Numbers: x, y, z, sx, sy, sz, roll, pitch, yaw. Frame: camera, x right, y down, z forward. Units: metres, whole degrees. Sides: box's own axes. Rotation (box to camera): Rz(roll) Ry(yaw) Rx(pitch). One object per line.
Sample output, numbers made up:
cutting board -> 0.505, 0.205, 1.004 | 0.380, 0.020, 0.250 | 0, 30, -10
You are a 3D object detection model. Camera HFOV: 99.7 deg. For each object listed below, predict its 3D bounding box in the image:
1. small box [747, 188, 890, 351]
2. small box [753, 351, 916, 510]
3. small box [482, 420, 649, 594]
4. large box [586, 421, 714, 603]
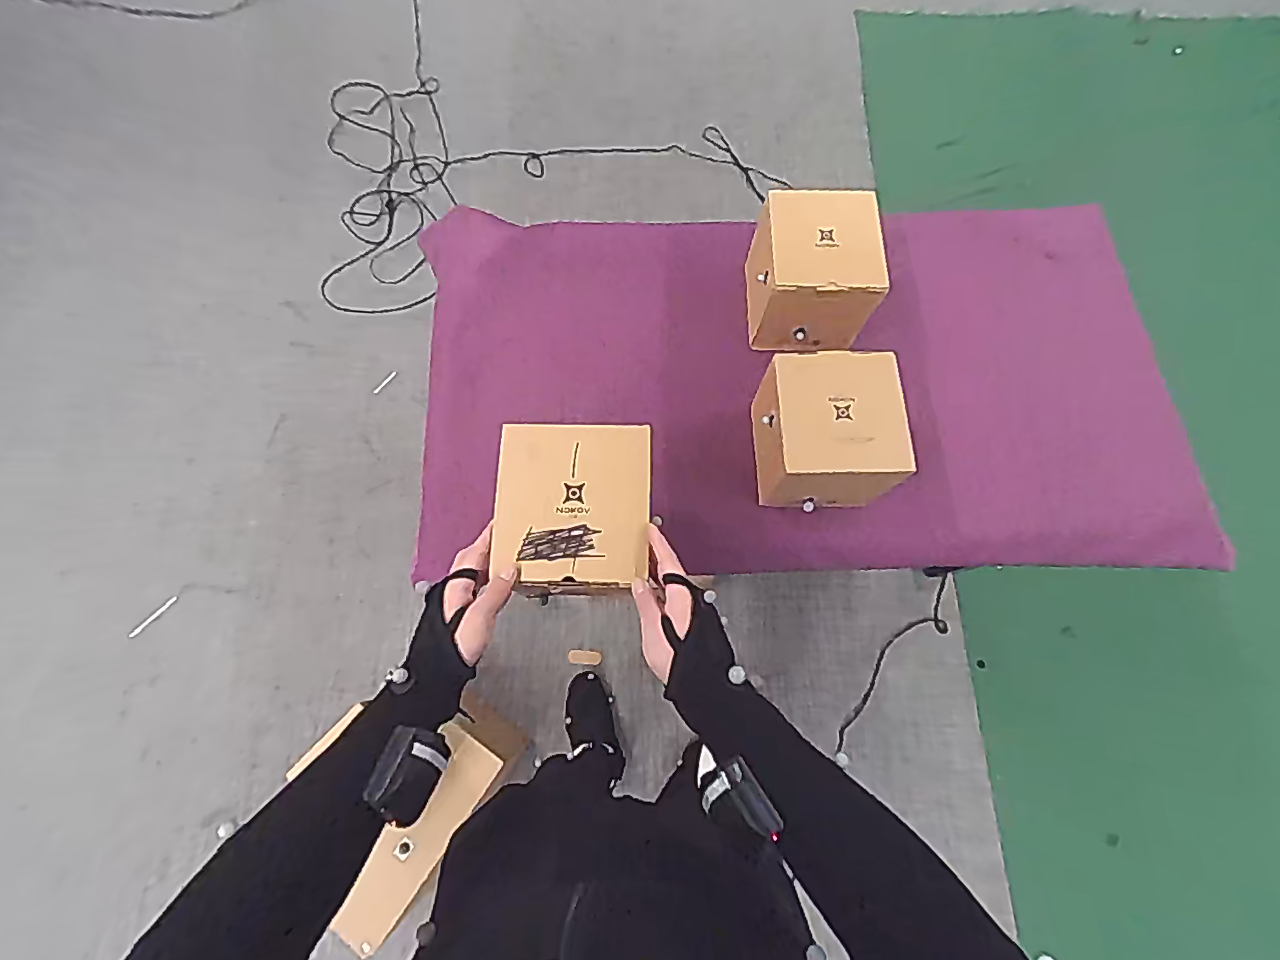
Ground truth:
small box -> 0.268, -0.326, 0.854 | 0.168, 0.176, 0.179 | 1, 73, 0
small box -> 0.260, -0.064, 0.769 | 0.168, 0.176, 0.179 | 0, 72, 1
small box -> -0.074, 0.041, 0.639 | 0.168, 0.176, 0.179 | 1, 74, 1
large box -> 0.006, 0.096, 1.412 | 0.320, 0.320, 0.408 | -1, 71, -1
